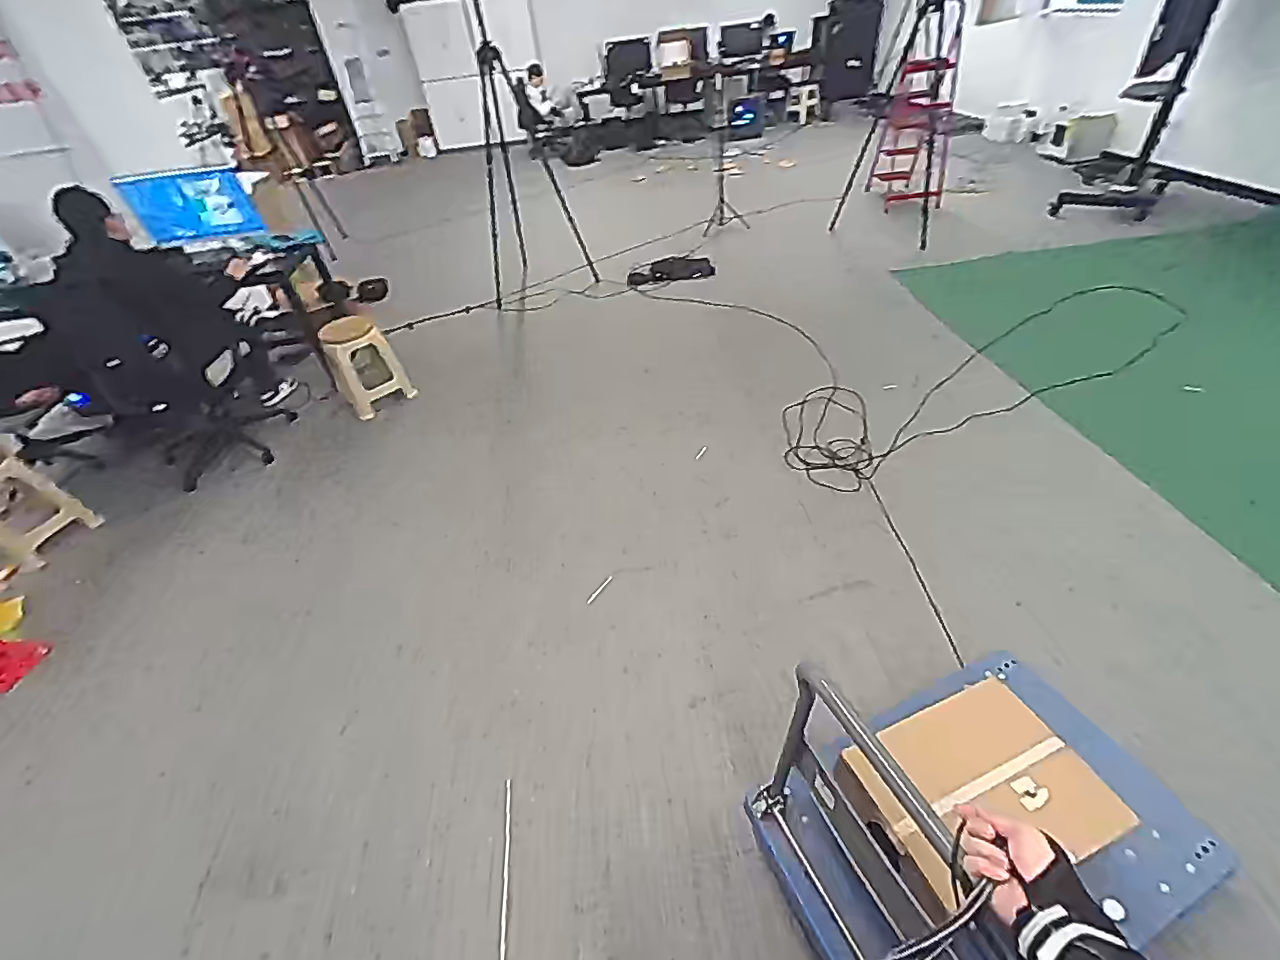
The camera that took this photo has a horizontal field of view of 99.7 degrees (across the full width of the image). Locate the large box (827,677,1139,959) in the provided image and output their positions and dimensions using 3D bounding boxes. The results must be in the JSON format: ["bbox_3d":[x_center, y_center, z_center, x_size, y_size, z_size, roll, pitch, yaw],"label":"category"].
[{"bbox_3d":[0.658,0.688,1.111,0.408,0.320,0.320,-18,43,-13],"label":"large box"}]
